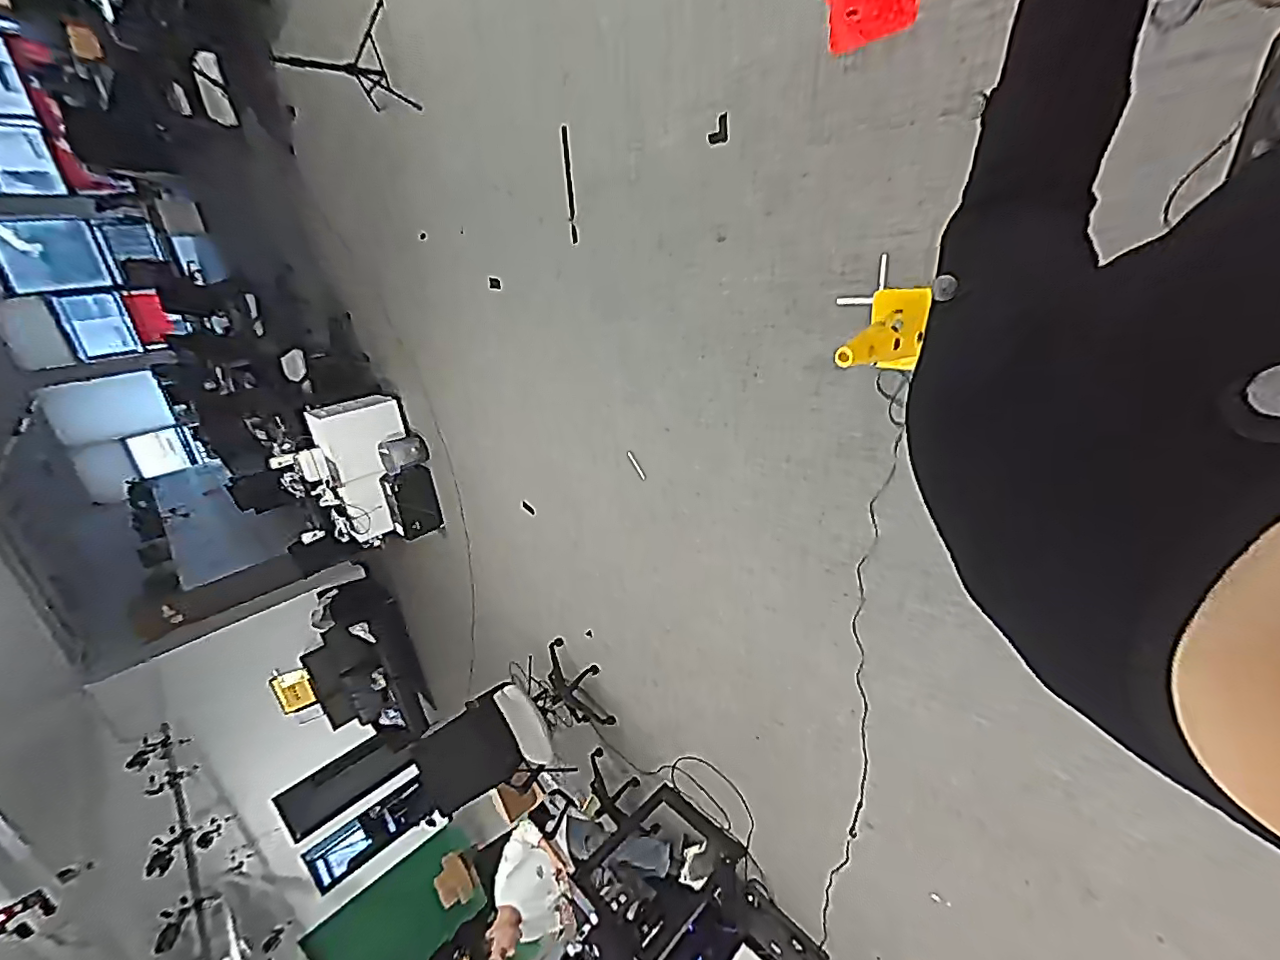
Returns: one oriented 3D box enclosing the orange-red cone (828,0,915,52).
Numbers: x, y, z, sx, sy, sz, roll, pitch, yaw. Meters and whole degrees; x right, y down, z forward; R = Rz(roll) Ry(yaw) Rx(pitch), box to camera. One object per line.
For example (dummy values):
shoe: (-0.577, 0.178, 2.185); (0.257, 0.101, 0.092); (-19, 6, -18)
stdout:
orange-red cone: (0.386, -1.025, 1.086); (0.198, 0.360, 0.199); (17, 123, 45)
